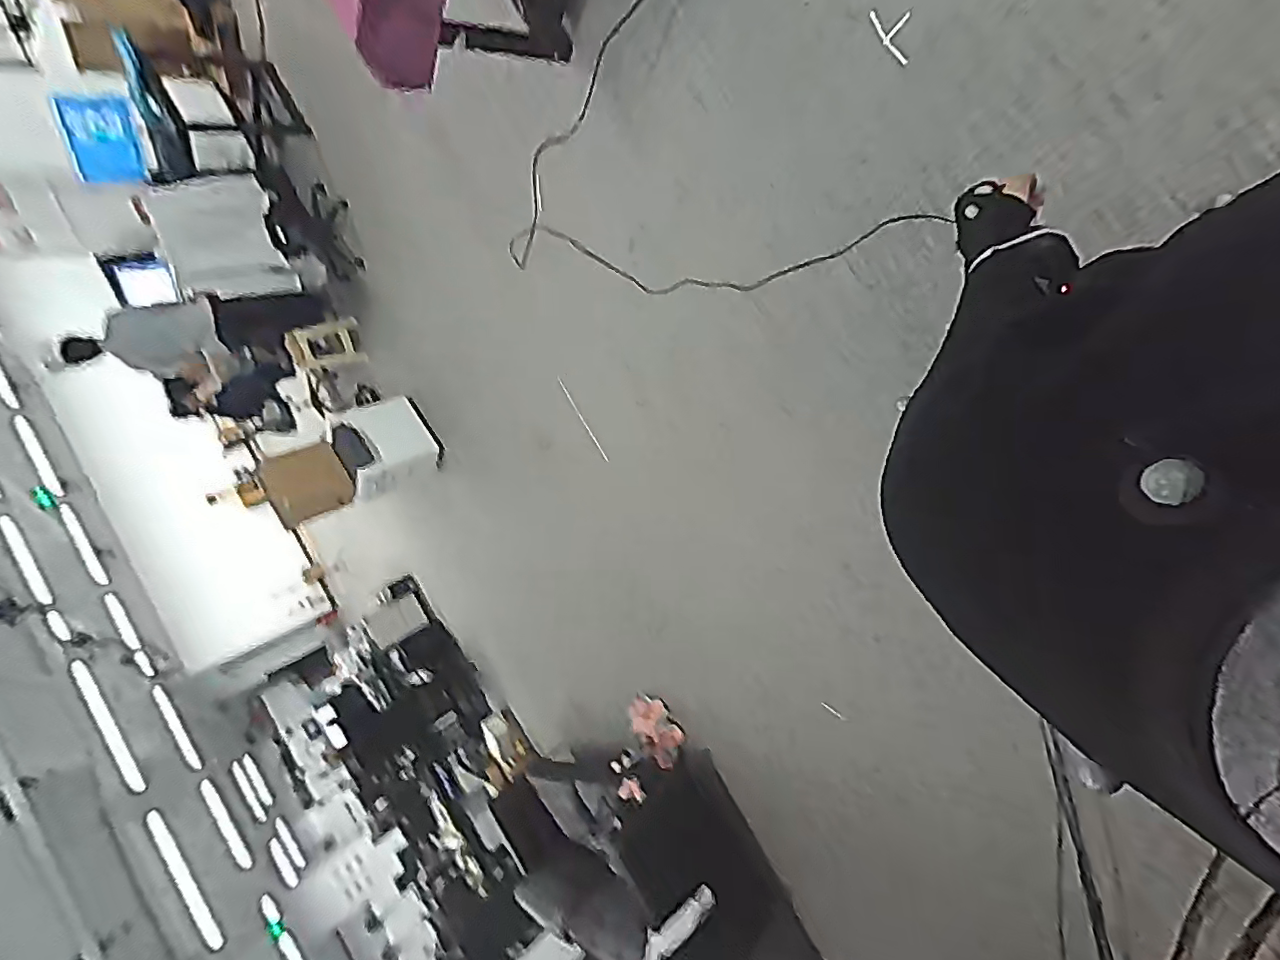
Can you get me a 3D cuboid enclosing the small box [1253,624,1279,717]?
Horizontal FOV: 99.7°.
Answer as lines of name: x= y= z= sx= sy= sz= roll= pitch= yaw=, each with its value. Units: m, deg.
small box: x=1.295 y=0.381 z=1.000 sx=0.168 sy=0.176 sz=0.179 roll=-31 pitch=86 yaw=51
